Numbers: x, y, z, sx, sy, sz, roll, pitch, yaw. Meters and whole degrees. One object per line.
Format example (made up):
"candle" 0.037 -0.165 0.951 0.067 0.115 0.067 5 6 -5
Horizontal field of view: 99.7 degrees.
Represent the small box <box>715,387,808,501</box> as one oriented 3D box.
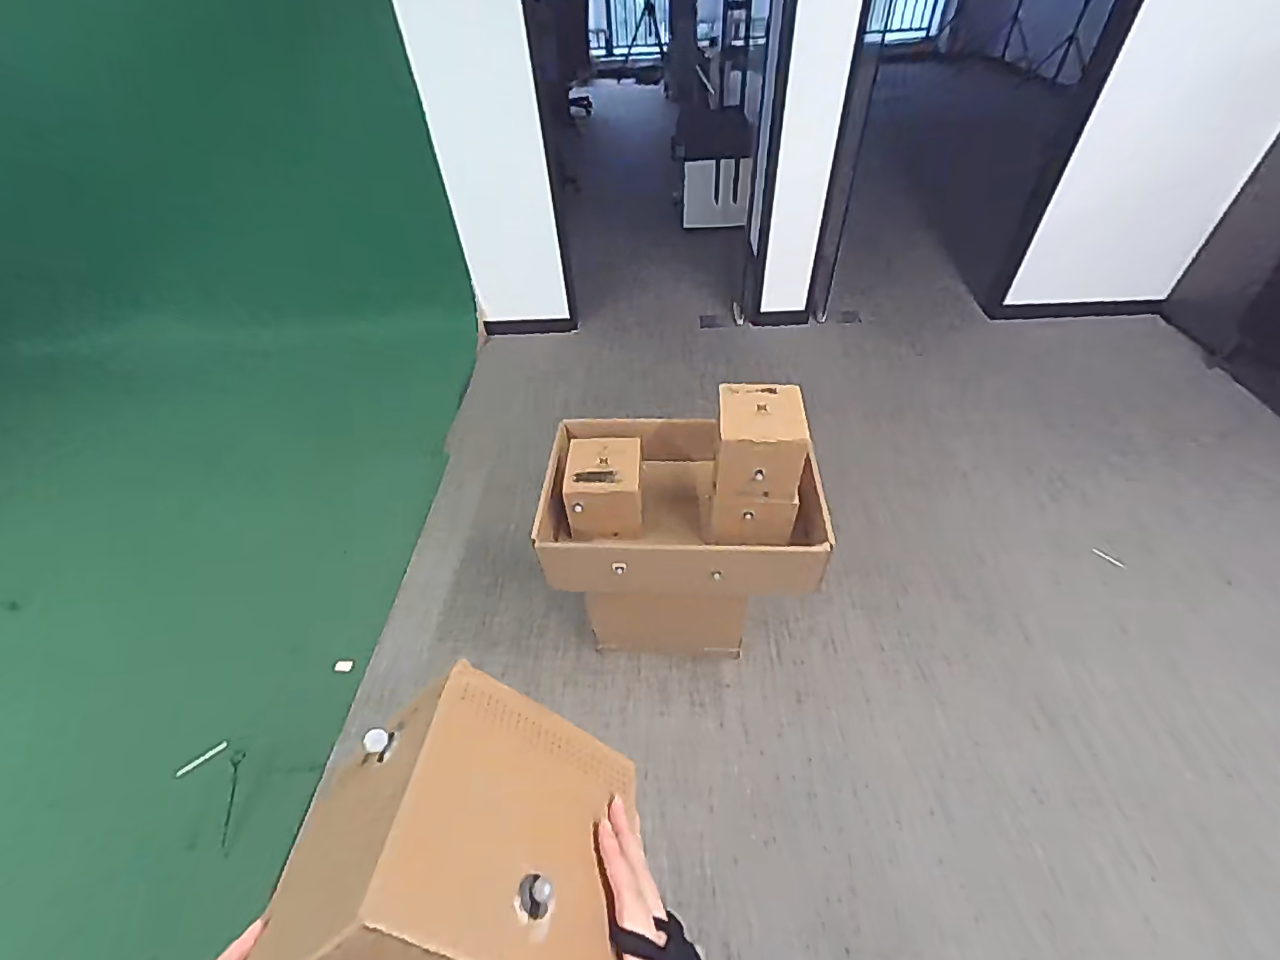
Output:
"small box" 0.243 -0.073 1.116 0.168 0.176 0.179 2 46 5
